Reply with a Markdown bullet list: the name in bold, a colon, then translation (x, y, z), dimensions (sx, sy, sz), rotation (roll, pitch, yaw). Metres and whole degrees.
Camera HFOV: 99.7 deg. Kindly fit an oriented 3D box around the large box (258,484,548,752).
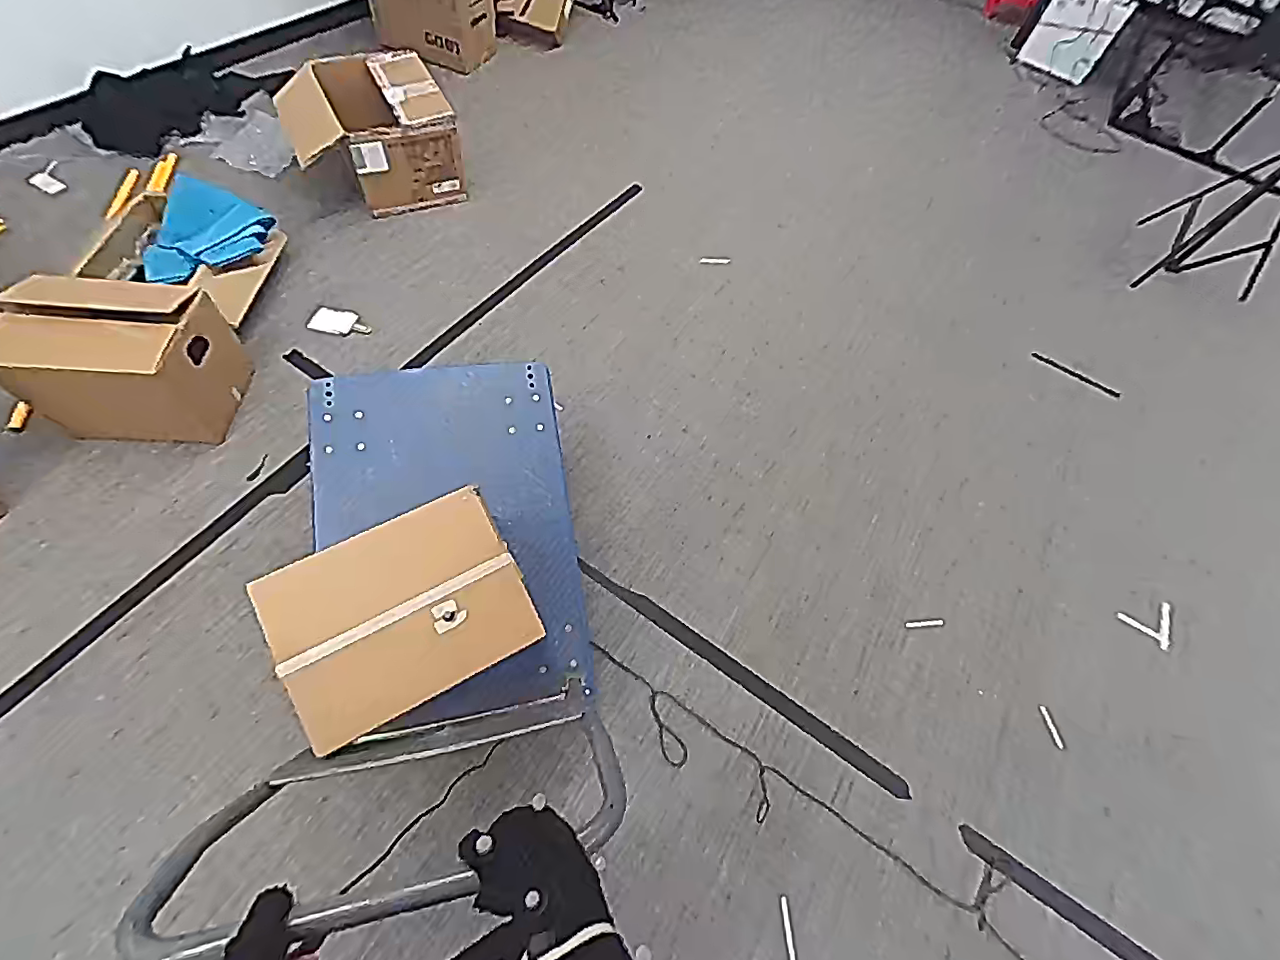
- **large box**: translation (-0.433, 0.263, 1.085), dimensions (0.408, 0.320, 0.320), rotation (-27, 82, -17)
